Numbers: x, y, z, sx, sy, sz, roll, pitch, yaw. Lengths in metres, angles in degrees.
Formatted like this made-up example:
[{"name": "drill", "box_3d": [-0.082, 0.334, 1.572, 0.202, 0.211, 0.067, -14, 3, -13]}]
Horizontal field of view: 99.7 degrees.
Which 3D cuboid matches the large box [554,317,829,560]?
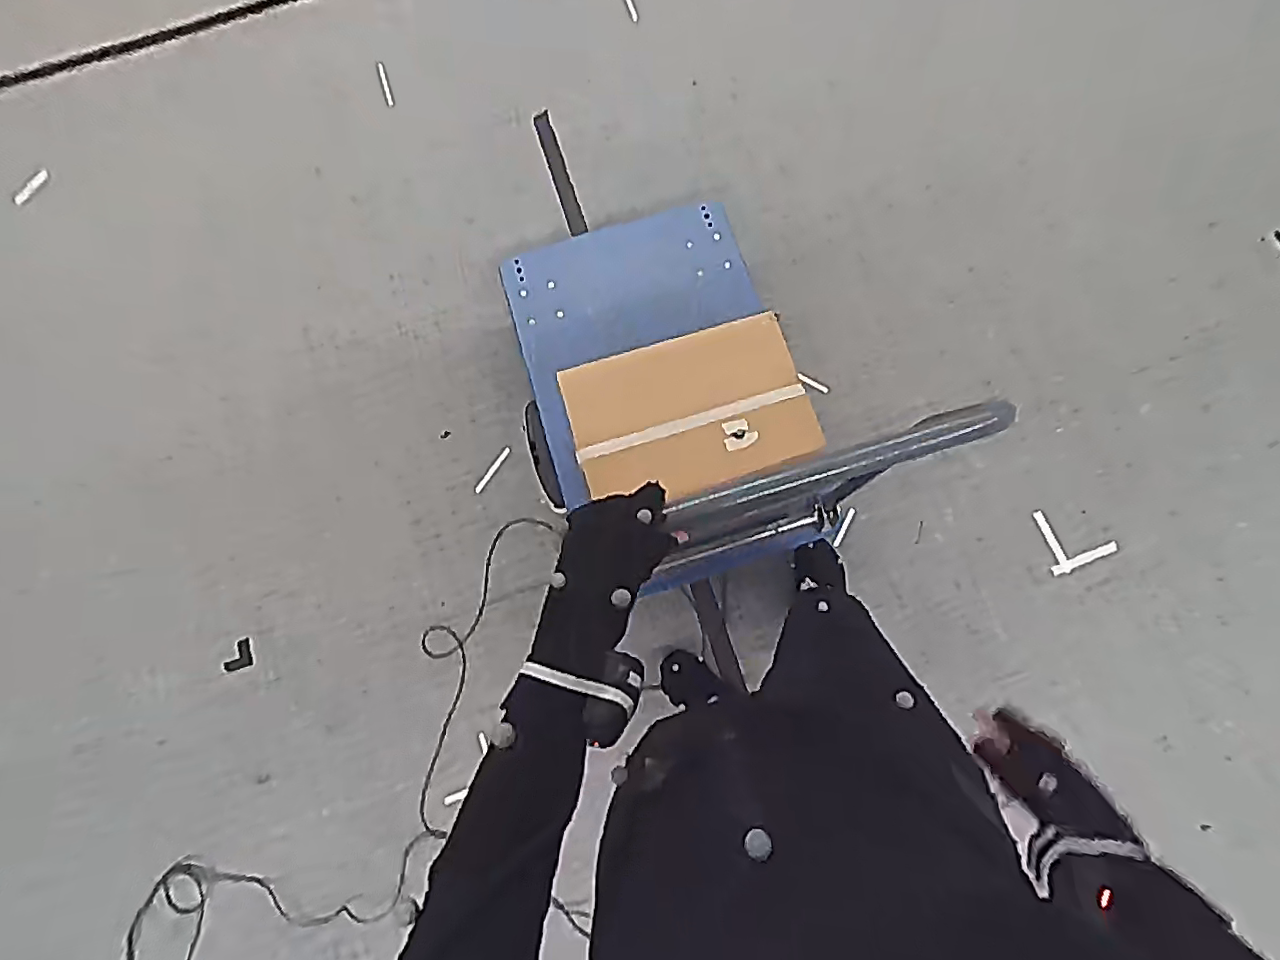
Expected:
[{"name": "large box", "box_3d": [0.083, -0.057, 1.060, 0.408, 0.320, 0.320, -17, 79, -4]}]
